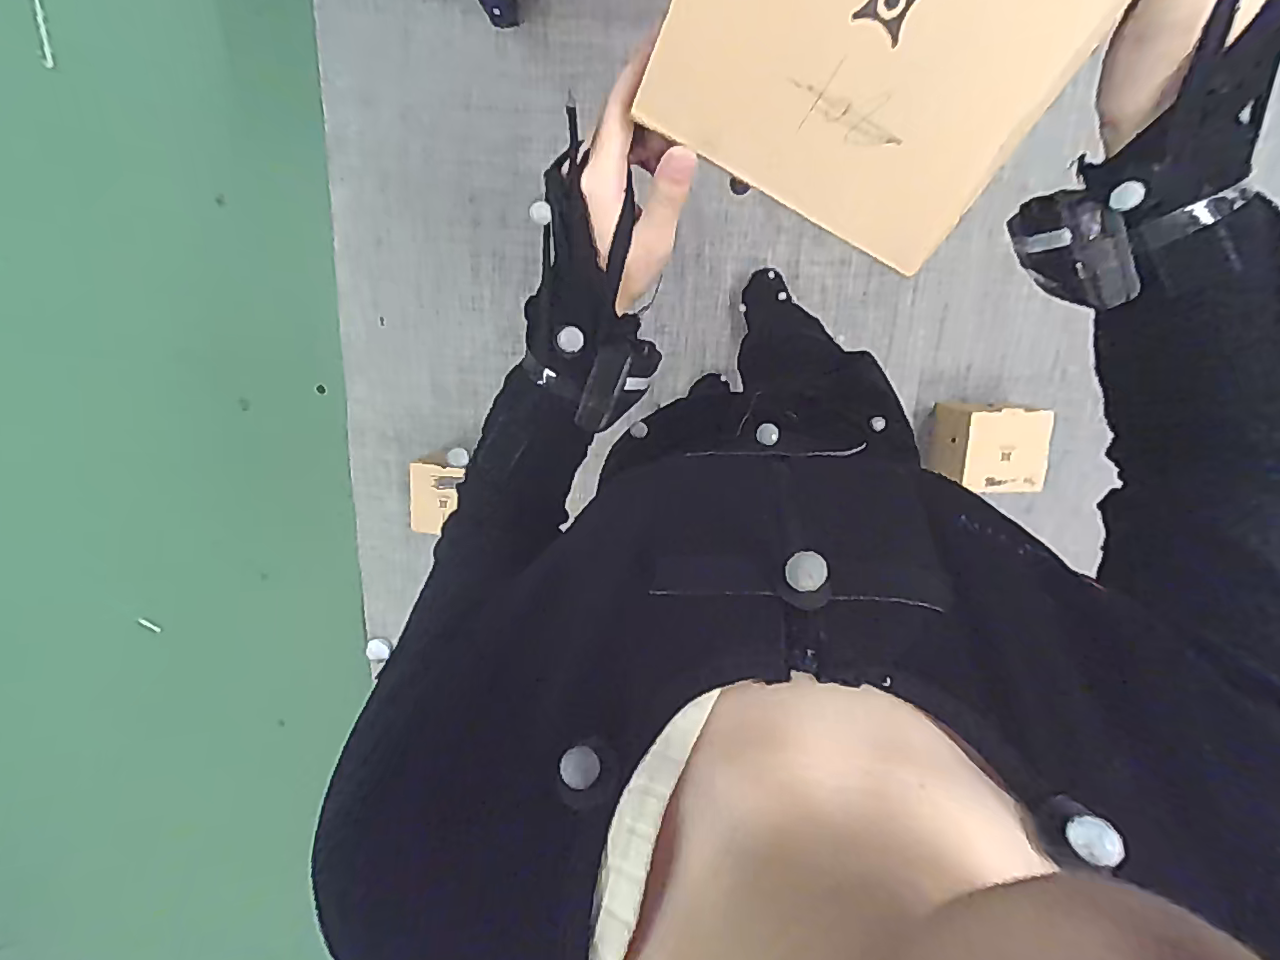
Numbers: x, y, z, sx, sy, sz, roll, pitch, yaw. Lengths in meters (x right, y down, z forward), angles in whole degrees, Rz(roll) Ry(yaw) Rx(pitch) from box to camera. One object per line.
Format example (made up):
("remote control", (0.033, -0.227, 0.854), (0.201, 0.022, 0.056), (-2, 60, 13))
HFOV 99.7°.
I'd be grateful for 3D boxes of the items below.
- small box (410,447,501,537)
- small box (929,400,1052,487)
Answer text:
("small box", (-0.452, 0.023, 1.341), (0.168, 0.176, 0.179), (7, 106, 4))
("small box", (0.767, -0.087, 1.203), (0.168, 0.176, 0.179), (0, 104, 5))
